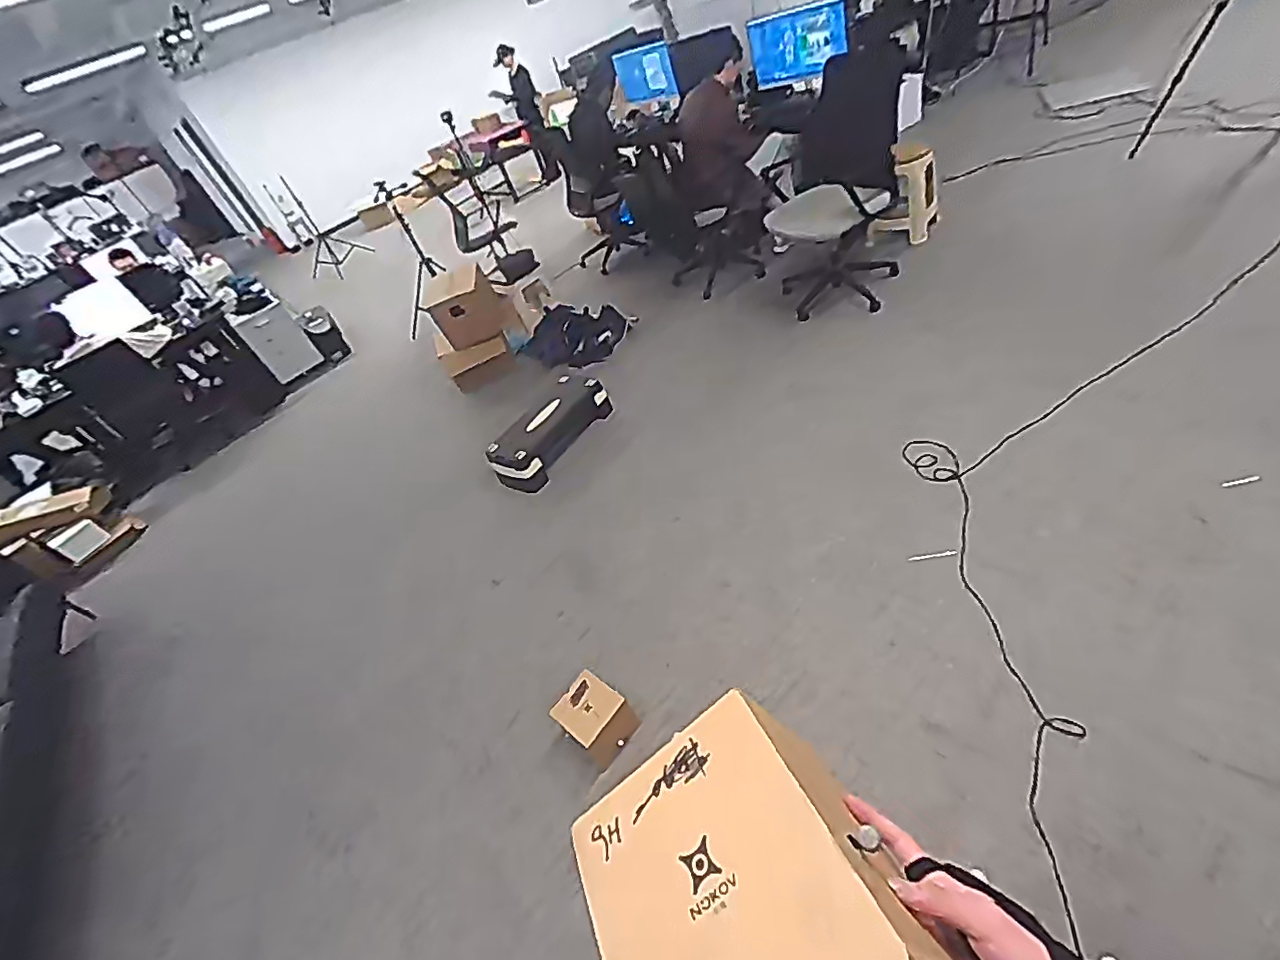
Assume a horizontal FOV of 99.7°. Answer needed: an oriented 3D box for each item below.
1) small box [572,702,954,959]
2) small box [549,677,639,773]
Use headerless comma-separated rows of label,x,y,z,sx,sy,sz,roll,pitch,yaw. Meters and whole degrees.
small box,0.086,0.300,0.379,0.168,0.176,0.179,-41,37,1
small box,-0.132,0.727,1.599,0.179,0.176,0.168,22,57,39
